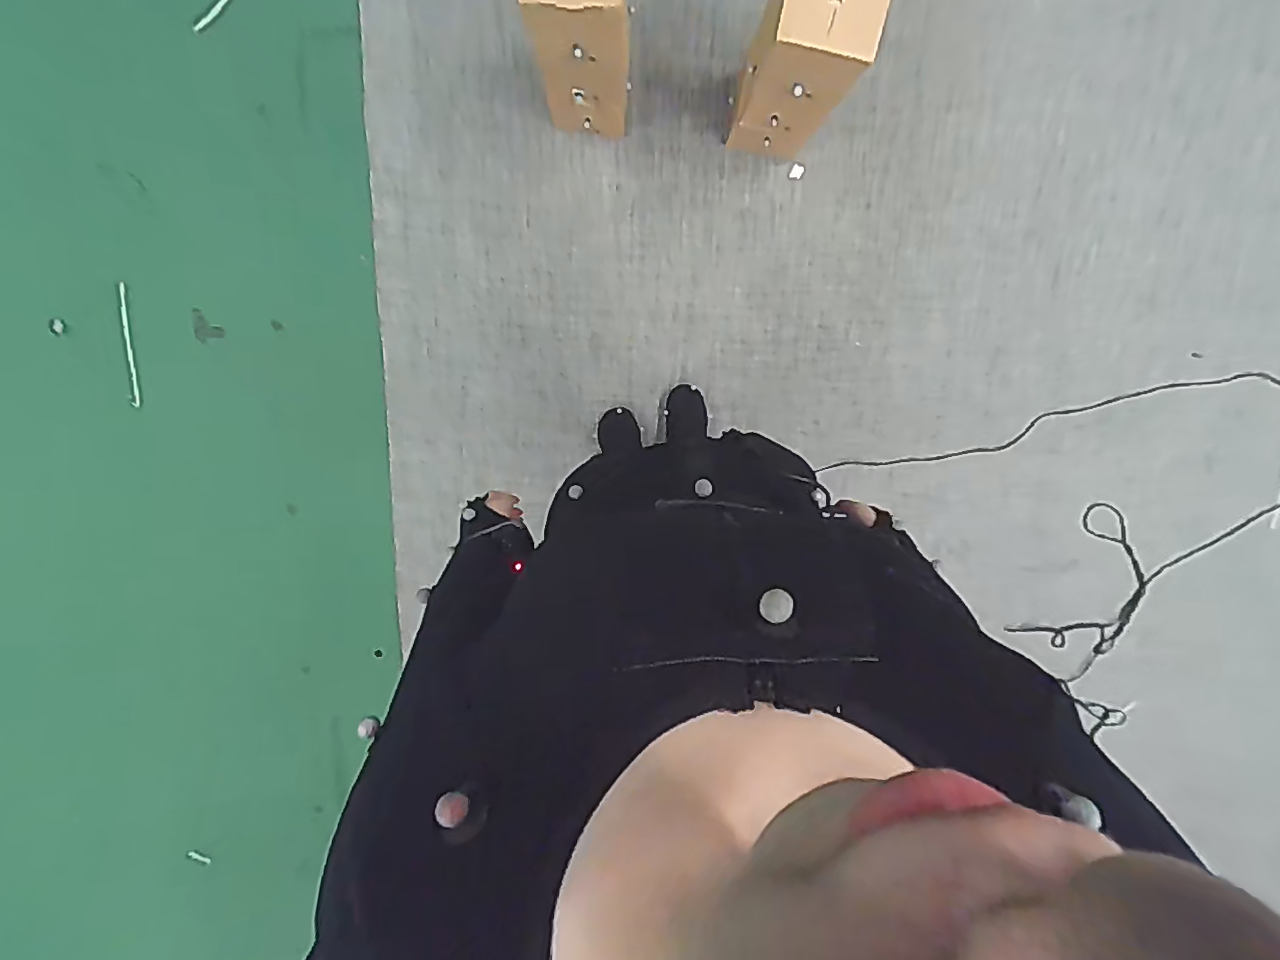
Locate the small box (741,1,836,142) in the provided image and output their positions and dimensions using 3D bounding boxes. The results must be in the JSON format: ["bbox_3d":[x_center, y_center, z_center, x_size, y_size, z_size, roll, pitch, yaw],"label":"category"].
[{"bbox_3d":[0.311,-0.821,1.091,0.168,0.176,0.179,10,103,-3],"label":"small box"}]

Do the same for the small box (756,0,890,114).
[{"bbox_3d":[0.311,-0.777,0.932,0.168,0.176,0.179,12,104,-3],"label":"small box"}]

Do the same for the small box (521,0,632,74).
[{"bbox_3d":[-0.101,-0.834,0.914,0.168,0.176,0.179,4,102,0],"label":"small box"}]

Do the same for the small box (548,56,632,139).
[{"bbox_3d":[-0.109,-0.910,1.233,0.168,0.176,0.179,7,103,-2],"label":"small box"}]

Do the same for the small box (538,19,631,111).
[{"bbox_3d":[-0.104,-0.873,1.075,0.168,0.176,0.179,4,104,0],"label":"small box"}]
